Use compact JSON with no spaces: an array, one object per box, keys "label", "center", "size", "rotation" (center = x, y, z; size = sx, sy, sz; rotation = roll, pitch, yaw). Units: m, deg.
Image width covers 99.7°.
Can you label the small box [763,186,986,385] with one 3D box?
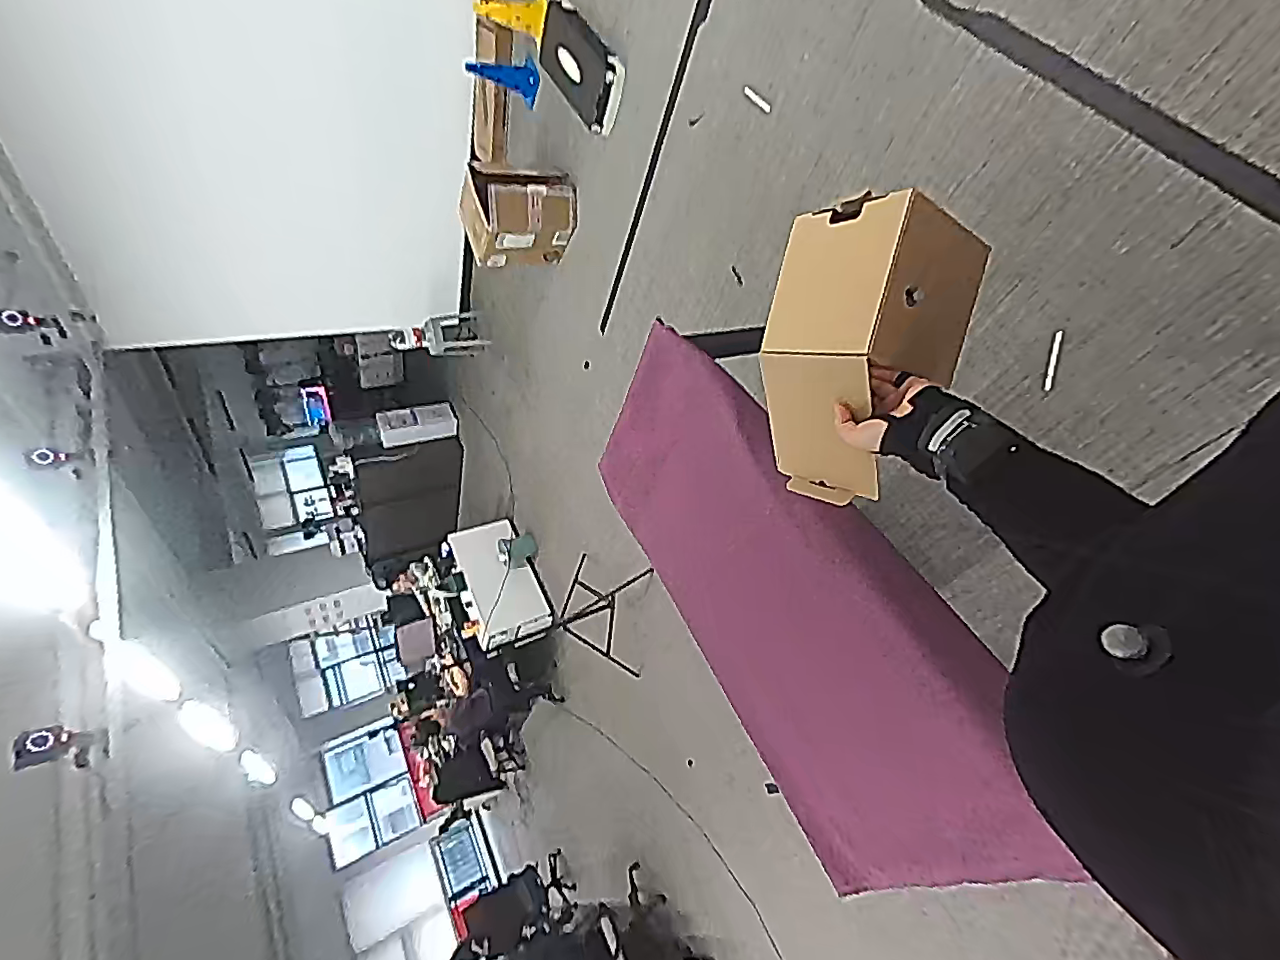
[{"label":"small box","center":[0.285,-0.222,0.664],"size":[0.168,0.176,0.179],"rotation":[24,102,56]}]
